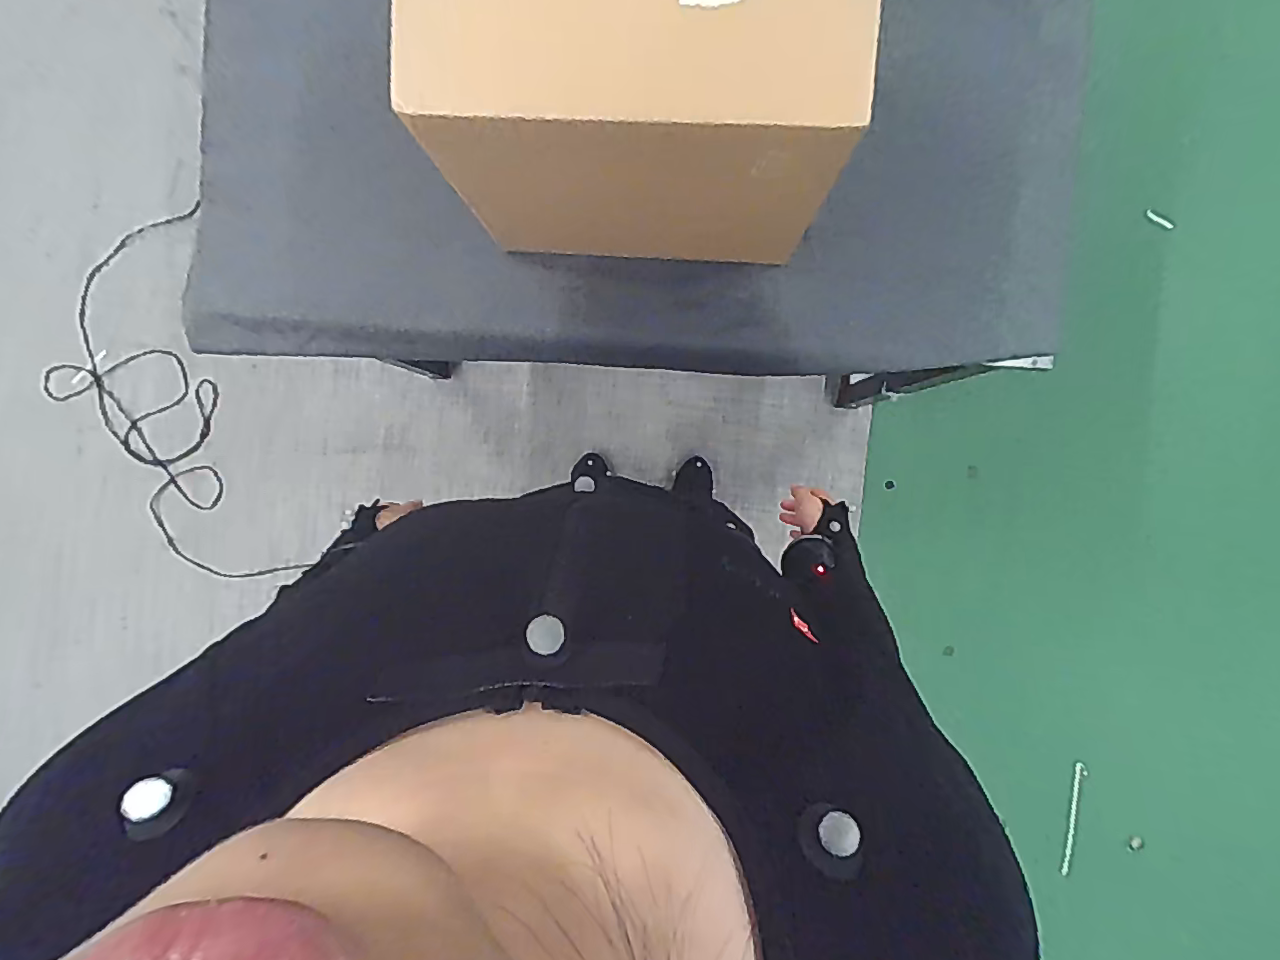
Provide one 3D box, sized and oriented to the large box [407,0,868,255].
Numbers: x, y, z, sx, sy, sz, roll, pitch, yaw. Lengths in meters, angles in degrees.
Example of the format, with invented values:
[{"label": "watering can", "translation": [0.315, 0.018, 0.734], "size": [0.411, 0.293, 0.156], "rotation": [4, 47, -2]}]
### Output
[{"label": "large box", "translation": [0.002, -0.467, 0.611], "size": [0.408, 0.320, 0.320], "rotation": [3, 93, 2]}]
